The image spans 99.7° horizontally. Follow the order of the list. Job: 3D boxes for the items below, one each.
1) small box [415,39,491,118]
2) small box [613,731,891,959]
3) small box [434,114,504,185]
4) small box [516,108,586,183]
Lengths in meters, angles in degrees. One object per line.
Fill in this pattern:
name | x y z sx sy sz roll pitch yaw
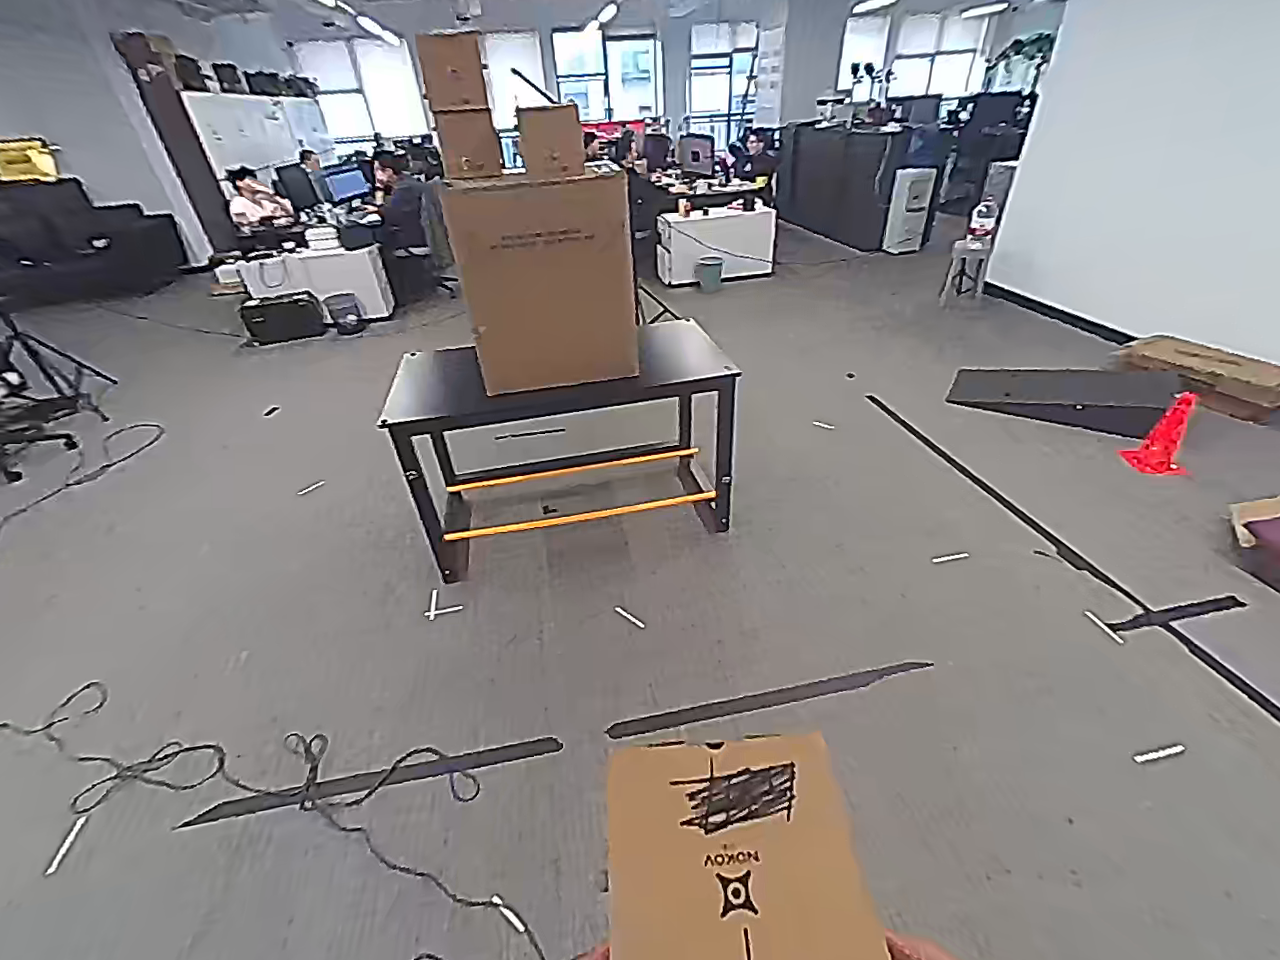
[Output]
small box | -0.517 -1.117 1.515 0.168 0.176 0.179 -11 36 -10
small box | 0.068 0.315 0.403 0.168 0.176 0.179 -5 42 0
small box | -0.509 -0.991 1.621 0.168 0.176 0.179 -12 36 -11
small box | -0.255 -0.956 1.546 0.168 0.176 0.179 -12 37 -8
